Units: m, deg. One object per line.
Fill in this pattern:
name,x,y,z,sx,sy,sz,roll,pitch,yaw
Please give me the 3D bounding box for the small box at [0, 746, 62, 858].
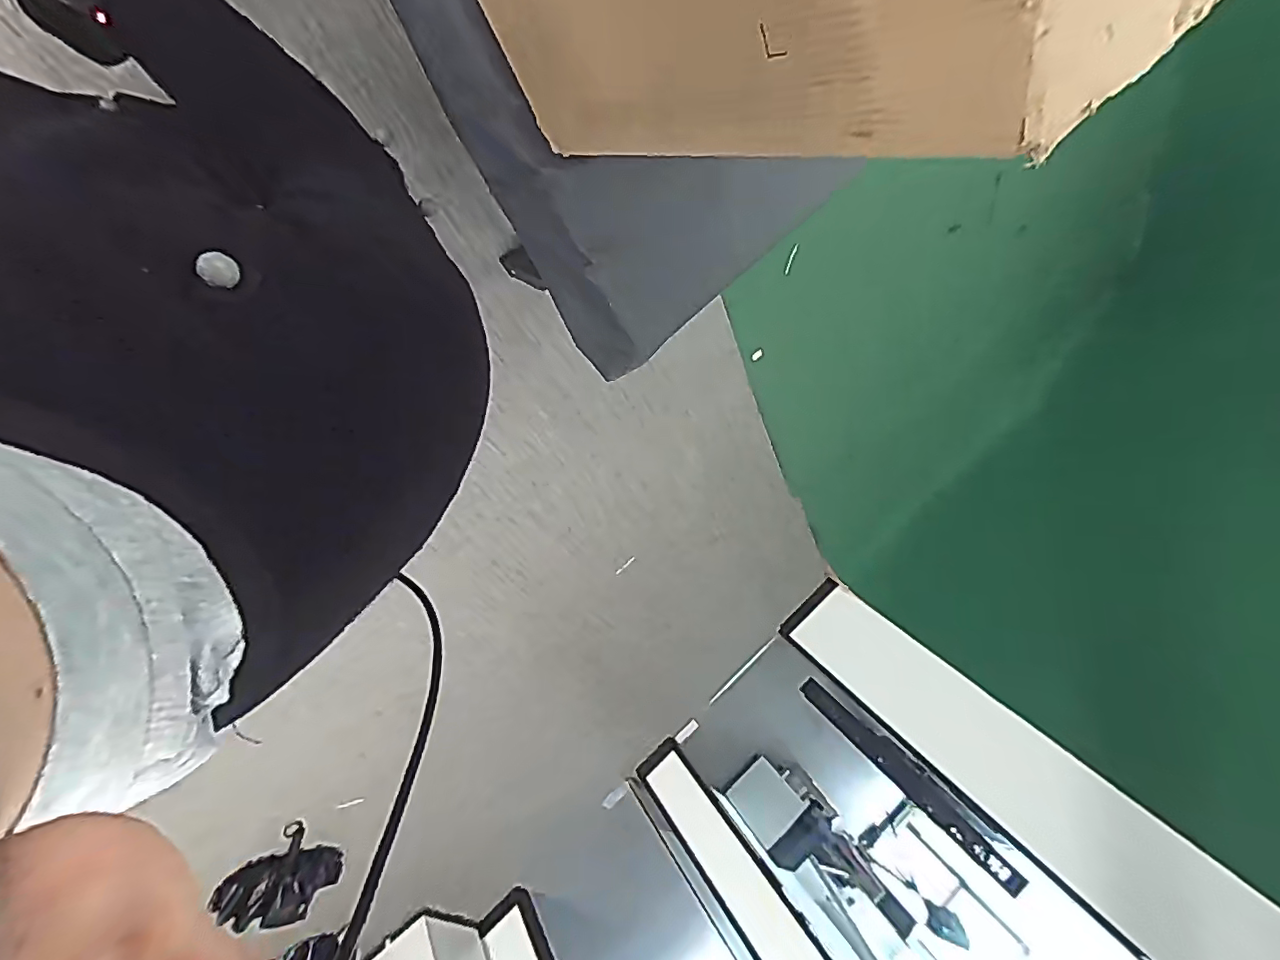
small box,-1.580,0.792,1.320,0.179,0.176,0.168,-41,133,-11
